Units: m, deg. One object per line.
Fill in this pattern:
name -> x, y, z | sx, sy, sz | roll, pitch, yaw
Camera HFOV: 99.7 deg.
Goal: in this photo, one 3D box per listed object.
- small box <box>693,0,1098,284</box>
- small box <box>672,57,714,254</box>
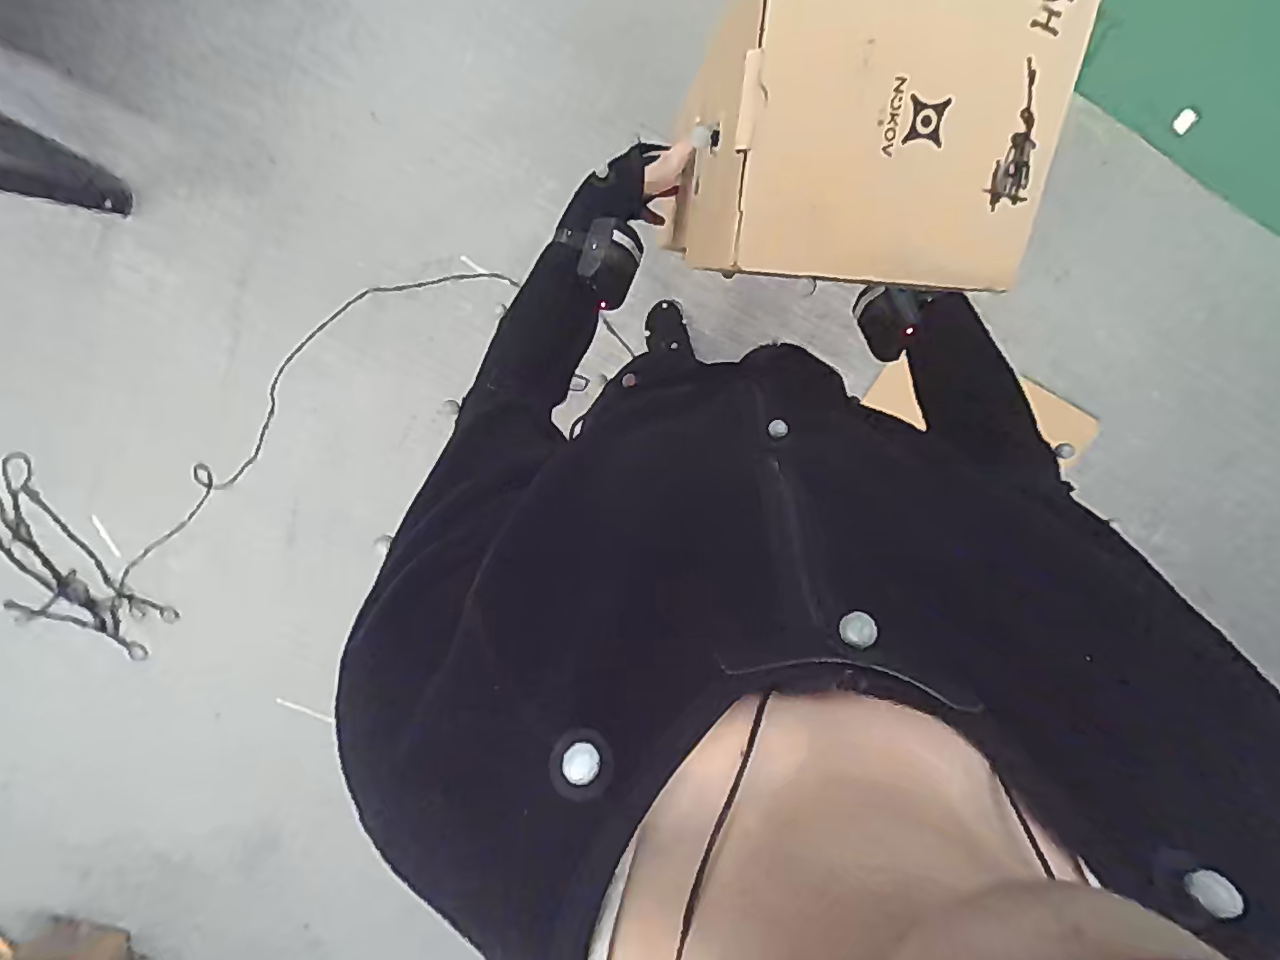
small box -> 0.136, -0.222, 0.358 | 0.179, 0.176, 0.168 | 2, 111, -5
small box -> 0.133, -0.294, 0.505 | 0.168, 0.176, 0.179 | 9, 111, -8
